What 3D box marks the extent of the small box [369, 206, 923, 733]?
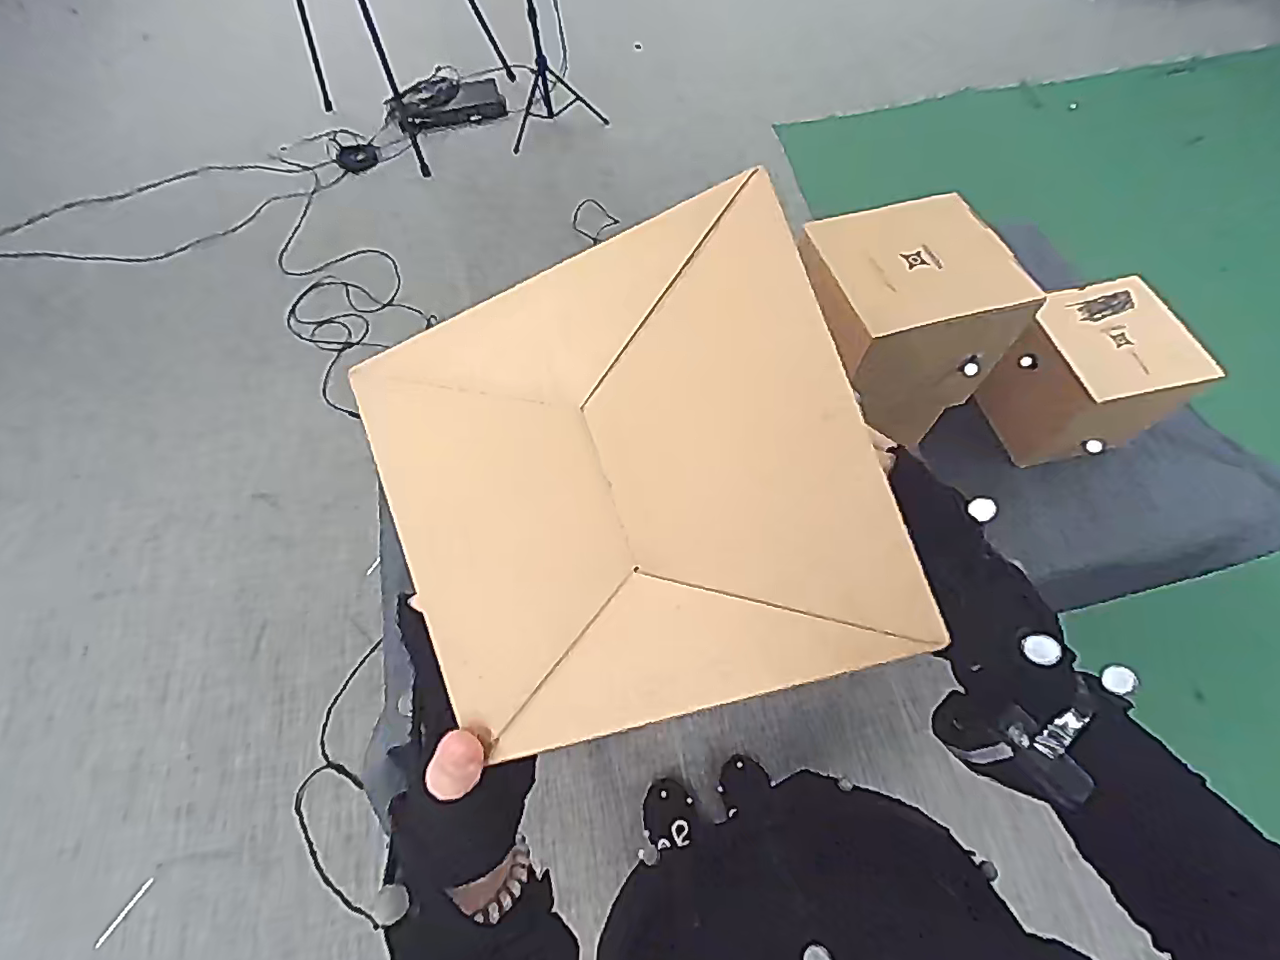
[{"bbox_3d":[0.011,-0.002,0.270,0.179,0.176,0.168,-21,86,14],"label":"small box"}]
